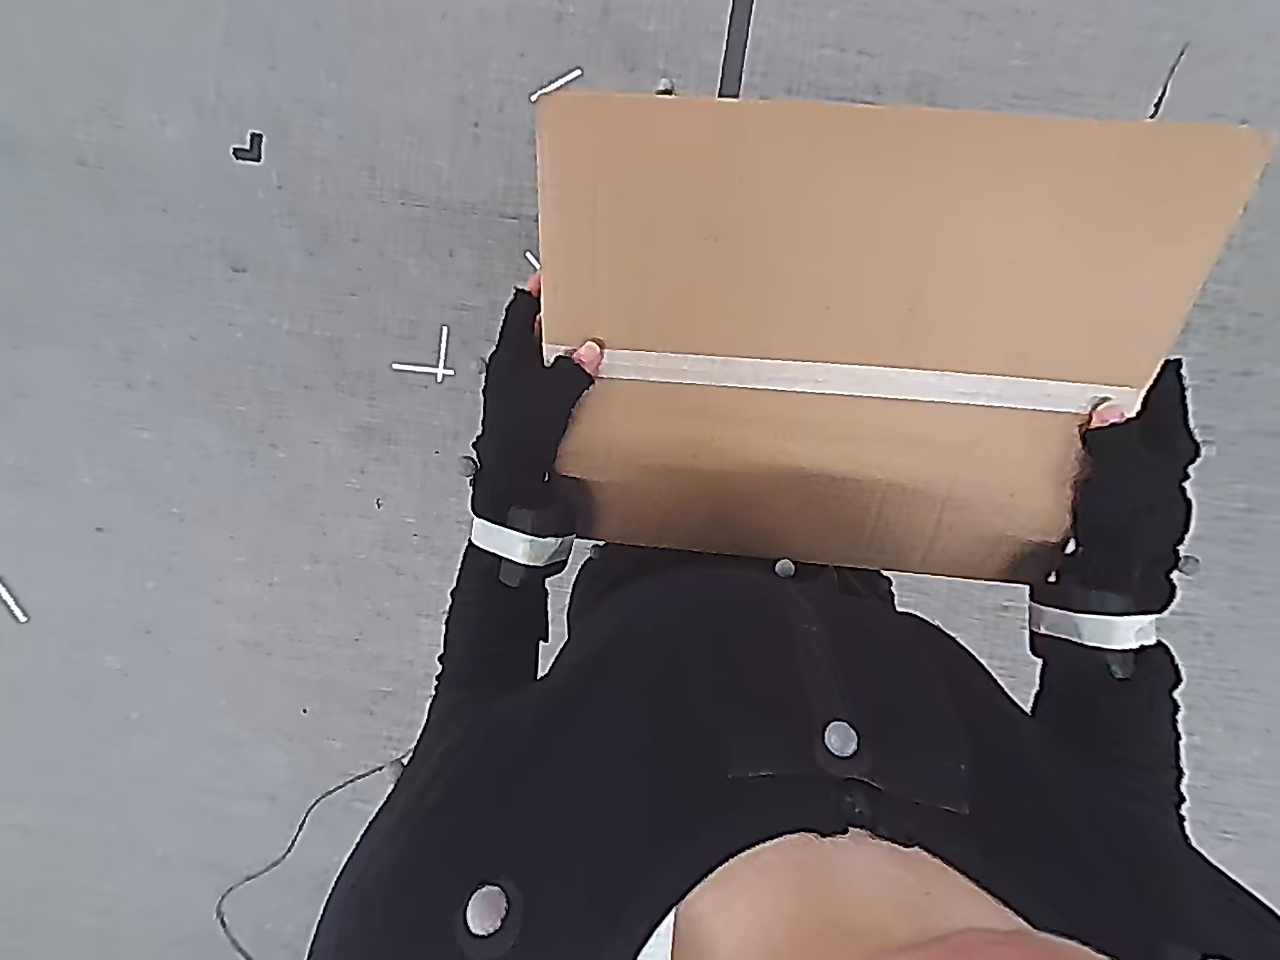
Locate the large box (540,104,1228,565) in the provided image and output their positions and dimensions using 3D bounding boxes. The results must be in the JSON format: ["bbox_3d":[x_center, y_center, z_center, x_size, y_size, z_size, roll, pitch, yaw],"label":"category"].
[{"bbox_3d":[0.142,-0.147,0.518,0.408,0.320,0.320,5,120,4],"label":"large box"}]
